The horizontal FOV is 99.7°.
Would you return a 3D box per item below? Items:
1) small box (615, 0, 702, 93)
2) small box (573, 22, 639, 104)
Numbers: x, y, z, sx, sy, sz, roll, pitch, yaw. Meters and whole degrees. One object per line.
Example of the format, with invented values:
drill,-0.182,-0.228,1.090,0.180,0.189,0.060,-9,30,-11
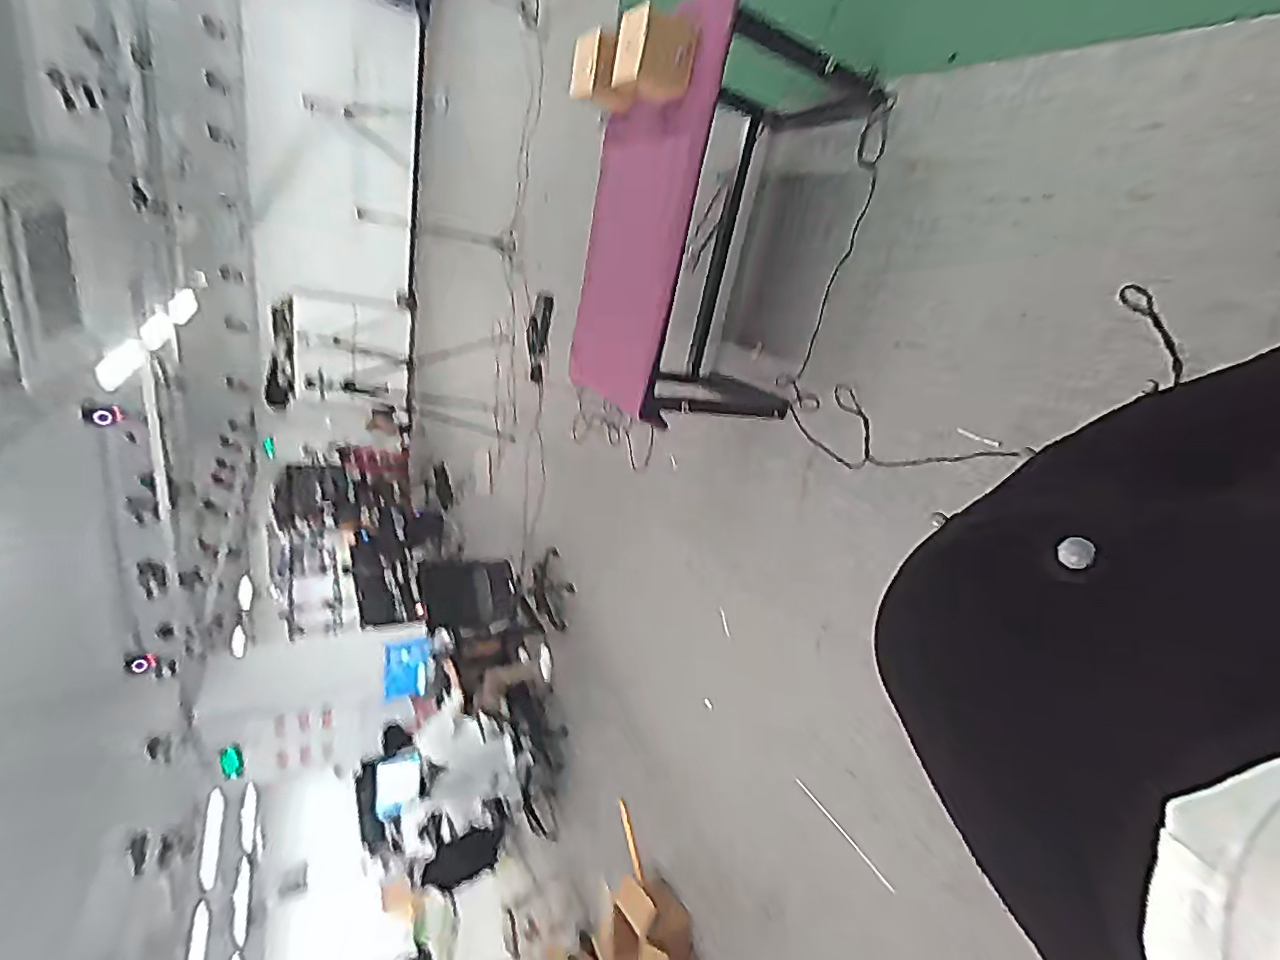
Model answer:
small box,0.051,-1.247,1.563,0.179,0.176,0.168,44,128,50
small box,-0.105,-1.385,1.808,0.179,0.176,0.168,40,126,49
